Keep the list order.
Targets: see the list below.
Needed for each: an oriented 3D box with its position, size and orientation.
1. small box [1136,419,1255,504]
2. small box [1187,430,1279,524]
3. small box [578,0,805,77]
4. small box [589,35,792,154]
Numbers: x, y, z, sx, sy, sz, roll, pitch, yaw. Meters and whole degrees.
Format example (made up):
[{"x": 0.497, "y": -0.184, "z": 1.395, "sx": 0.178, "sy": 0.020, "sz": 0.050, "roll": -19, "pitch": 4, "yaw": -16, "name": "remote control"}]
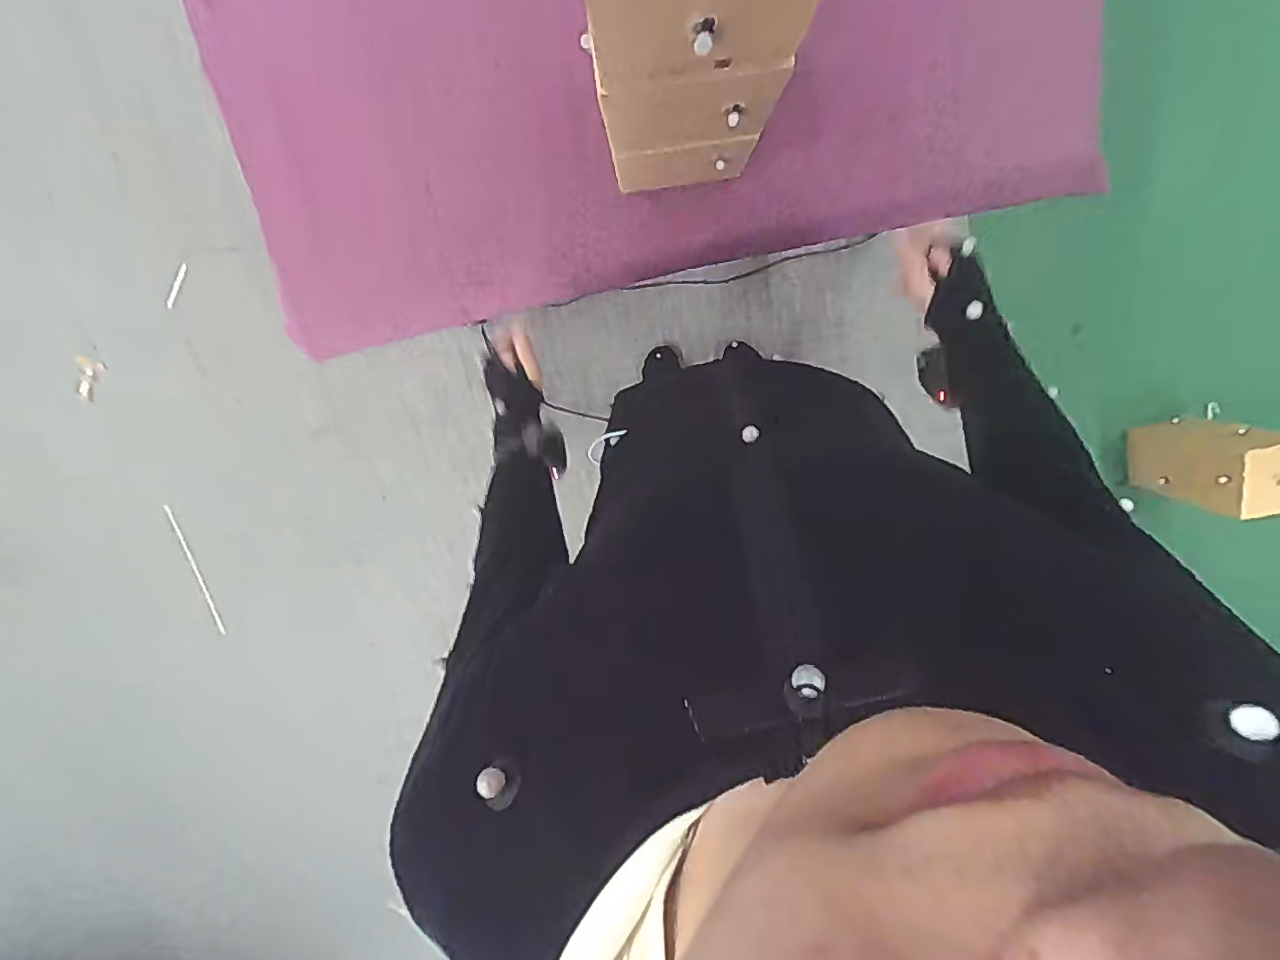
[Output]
[{"x": 1.514, "y": -0.055, "z": 1.484, "sx": 0.168, "sy": 0.176, "sz": 0.179, "roll": -13, "pitch": 104, "yaw": 6, "name": "small box"}, {"x": 1.506, "y": -0.012, "z": 1.327, "sx": 0.168, "sy": 0.176, "sz": 0.179, "roll": -12, "pitch": 104, "yaw": 6, "name": "small box"}, {"x": 0.033, "y": -0.413, "z": 0.372, "sx": 0.168, "sy": 0.176, "sz": 0.179, "roll": -6, "pitch": 104, "yaw": 3, "name": "small box"}, {"x": 0.040, "y": -0.446, "z": 0.532, "sx": 0.179, "sy": 0.176, "sz": 0.168, "roll": -6, "pitch": 104, "yaw": 4, "name": "small box"}]
